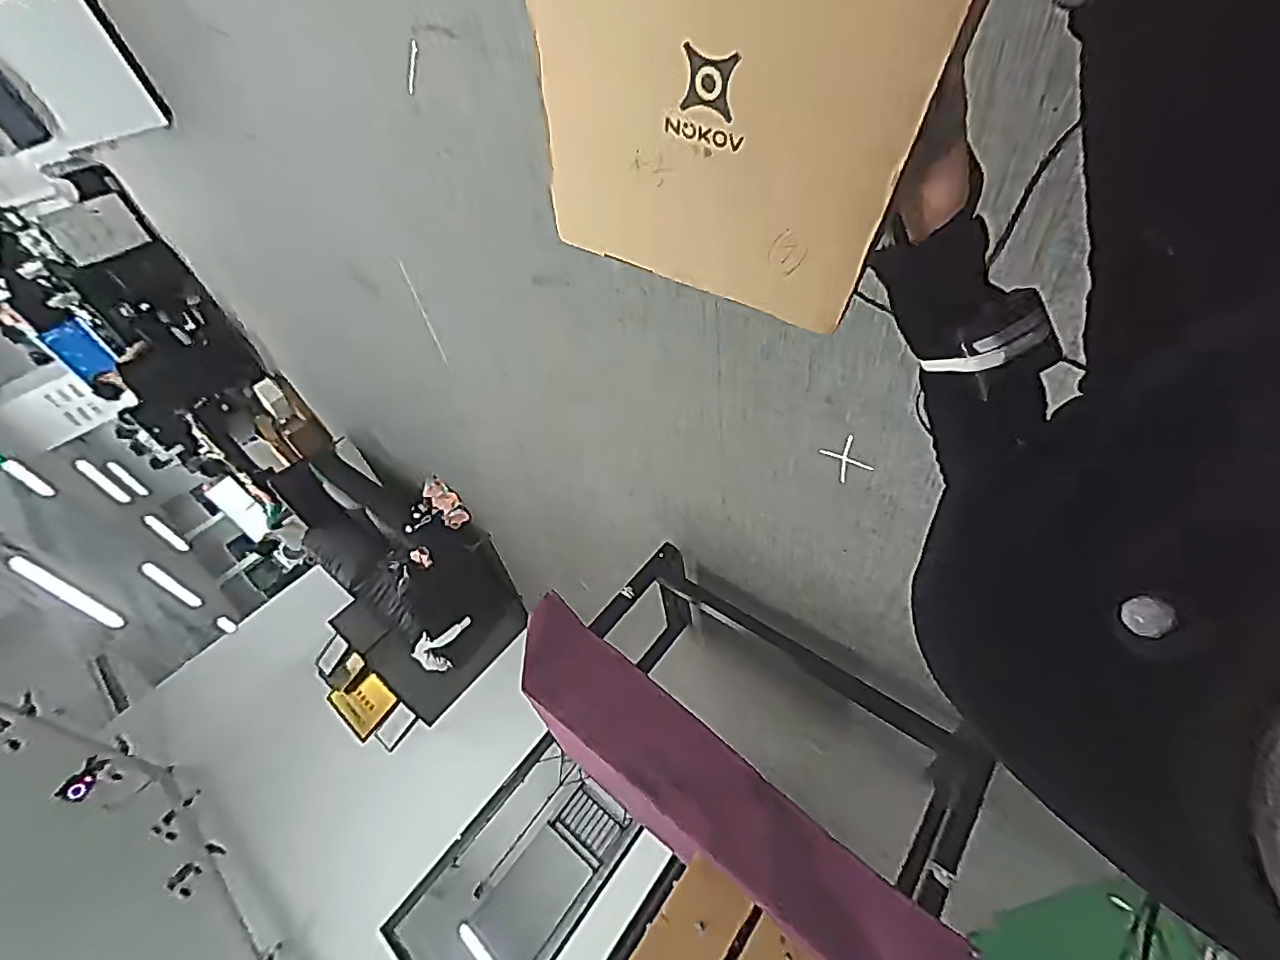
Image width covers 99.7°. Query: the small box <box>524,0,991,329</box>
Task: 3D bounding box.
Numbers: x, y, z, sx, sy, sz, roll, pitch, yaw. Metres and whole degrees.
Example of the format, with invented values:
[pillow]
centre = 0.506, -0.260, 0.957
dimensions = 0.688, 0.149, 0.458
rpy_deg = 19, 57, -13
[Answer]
[small box]
centre = 0.063, -0.211, 0.250
dimensions = 0.168, 0.176, 0.179
rpy_deg = 24, 149, 13
